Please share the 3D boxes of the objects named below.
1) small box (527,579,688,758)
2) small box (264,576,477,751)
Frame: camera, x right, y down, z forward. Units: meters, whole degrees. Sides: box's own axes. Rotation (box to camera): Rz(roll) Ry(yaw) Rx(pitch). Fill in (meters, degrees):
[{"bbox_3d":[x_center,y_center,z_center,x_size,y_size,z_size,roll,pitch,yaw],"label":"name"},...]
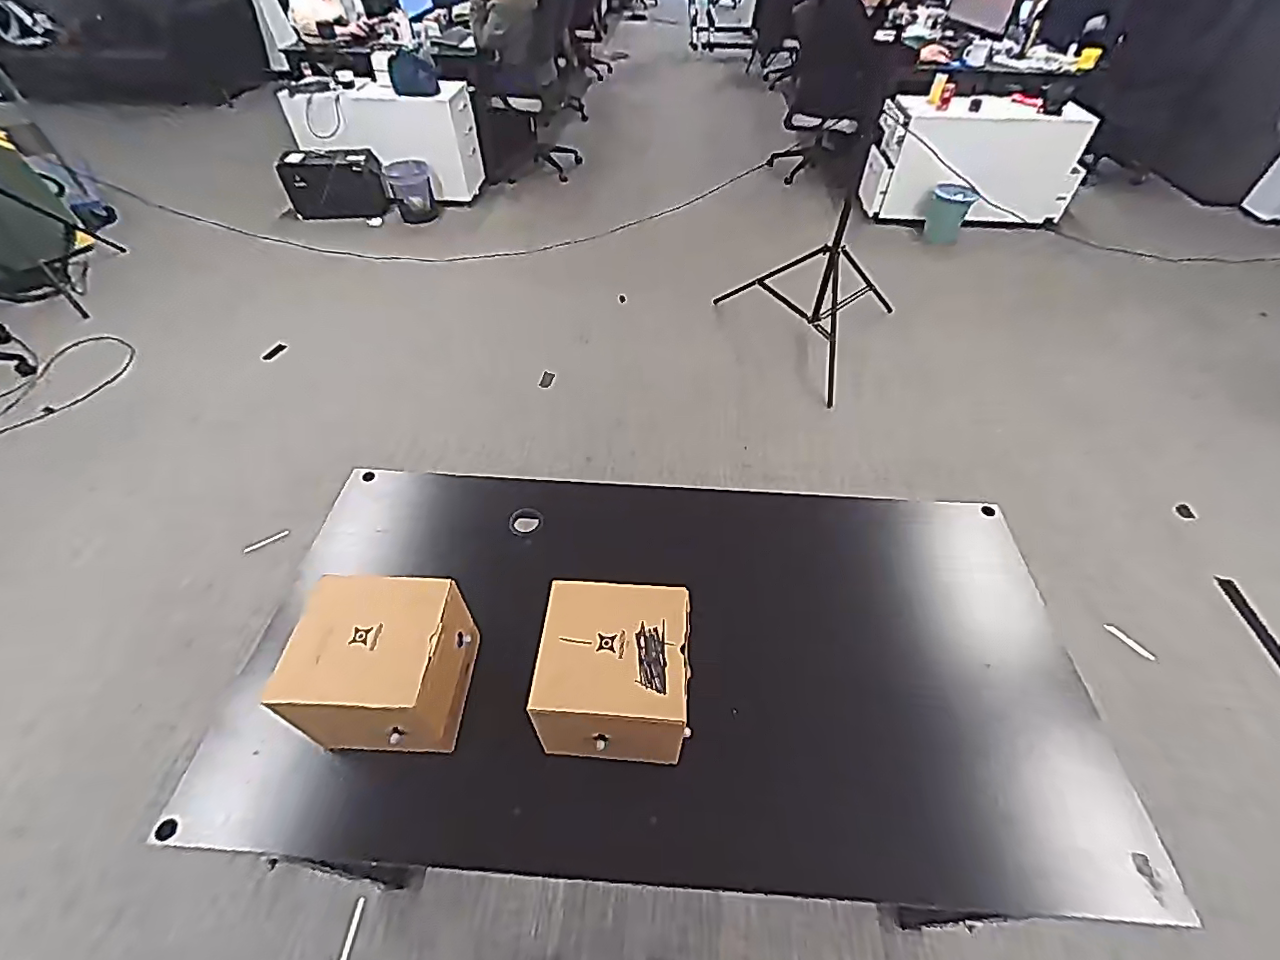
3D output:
[{"bbox_3d":[-0.032,0.248,0.701,0.179,0.176,0.168,3,48,3],"label":"small box"},{"bbox_3d":[-0.327,0.241,0.706,0.179,0.176,0.168,1,48,1],"label":"small box"}]
